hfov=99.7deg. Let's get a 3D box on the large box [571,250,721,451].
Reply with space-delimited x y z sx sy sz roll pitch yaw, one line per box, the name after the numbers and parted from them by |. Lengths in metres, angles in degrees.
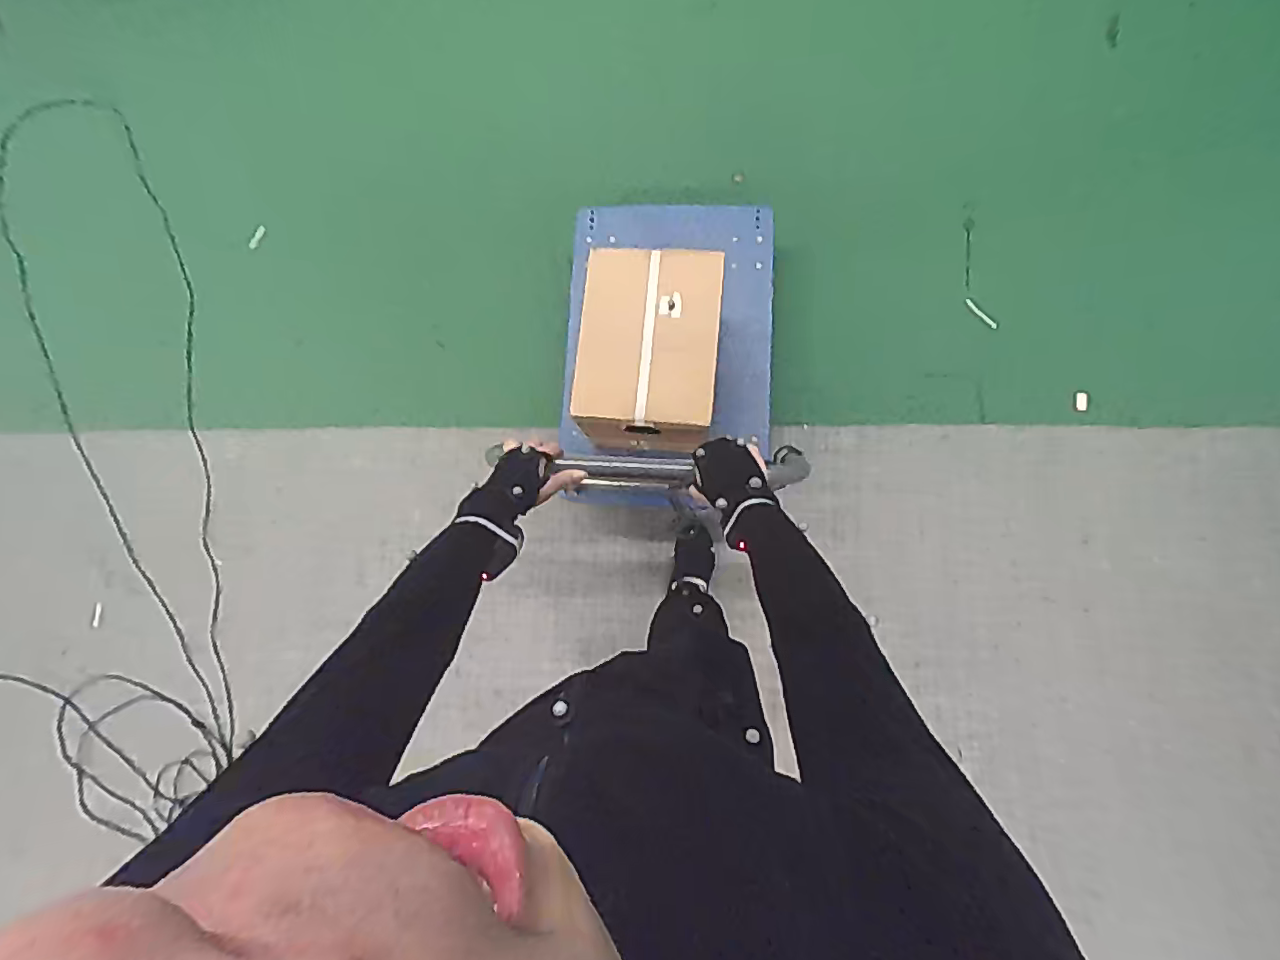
0.031 -0.302 1.355 0.320 0.320 0.408 5 81 6 | large box
